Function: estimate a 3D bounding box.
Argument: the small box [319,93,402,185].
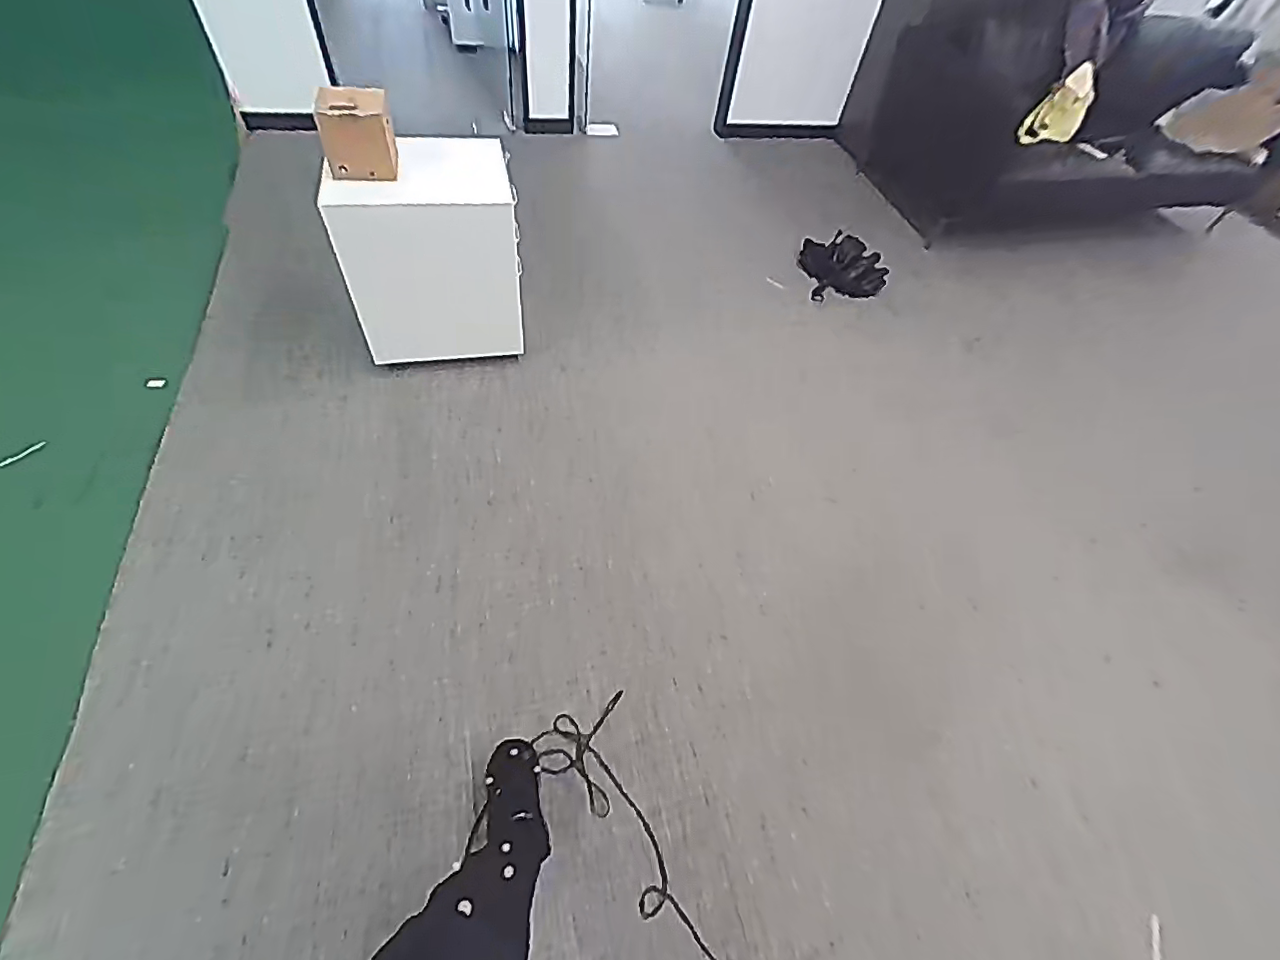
[{"bbox_3d":[-0.768,-0.944,1.504,0.168,0.176,0.179,-6,55,-14],"label":"small box"}]
